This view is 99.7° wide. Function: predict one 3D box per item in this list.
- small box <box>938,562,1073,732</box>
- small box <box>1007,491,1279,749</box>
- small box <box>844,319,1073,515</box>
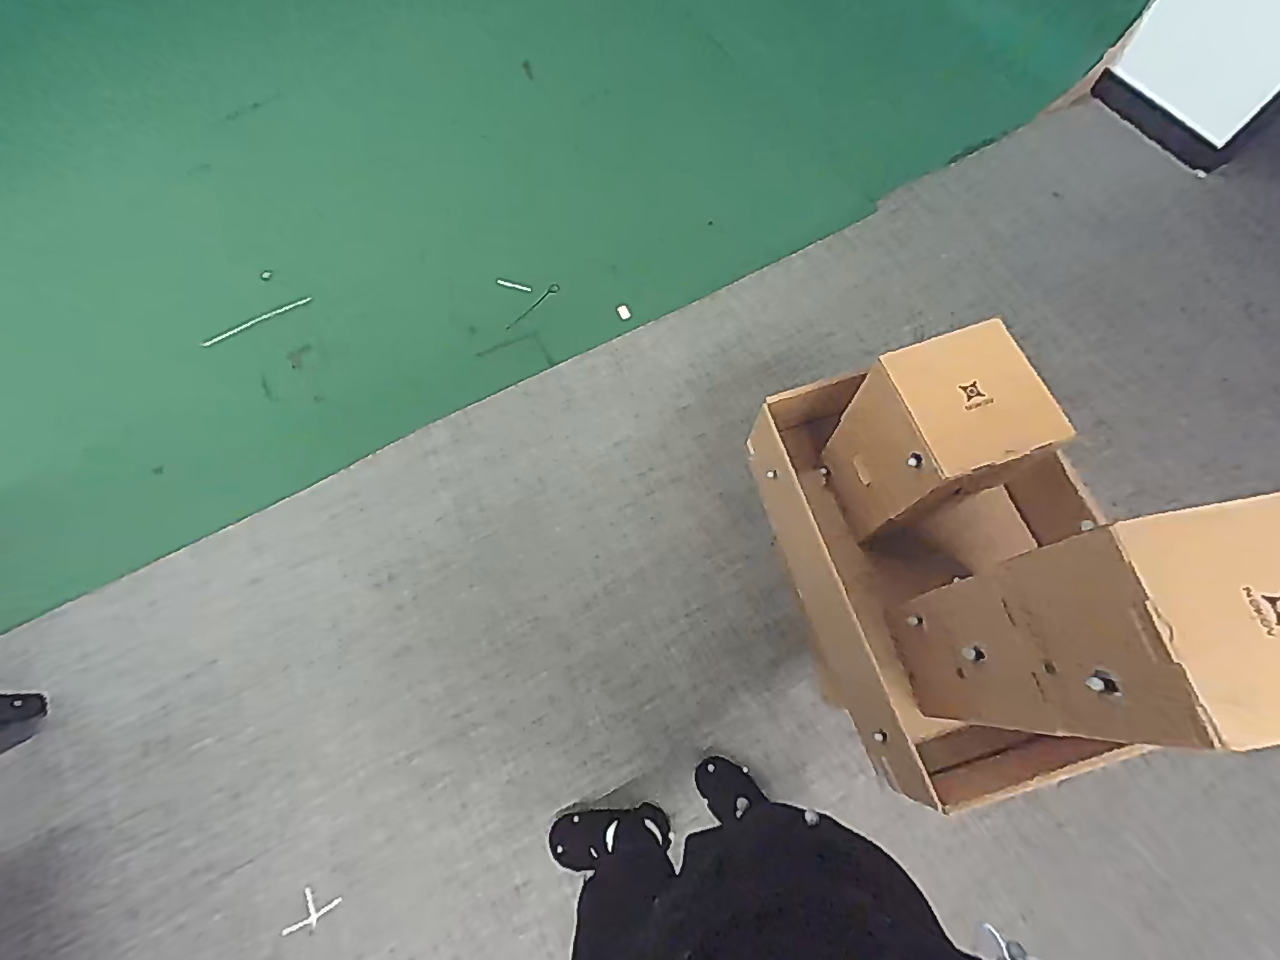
[{"bbox_3d":[0.472,0.179,0.614,0.179,0.176,0.168,-12,69,1],"label":"small box"},{"bbox_3d":[0.458,0.121,0.462,0.179,0.176,0.168,-10,70,0],"label":"small box"},{"bbox_3d":[0.399,-0.074,0.718,0.168,0.176,0.179,-19,70,-2],"label":"small box"}]
